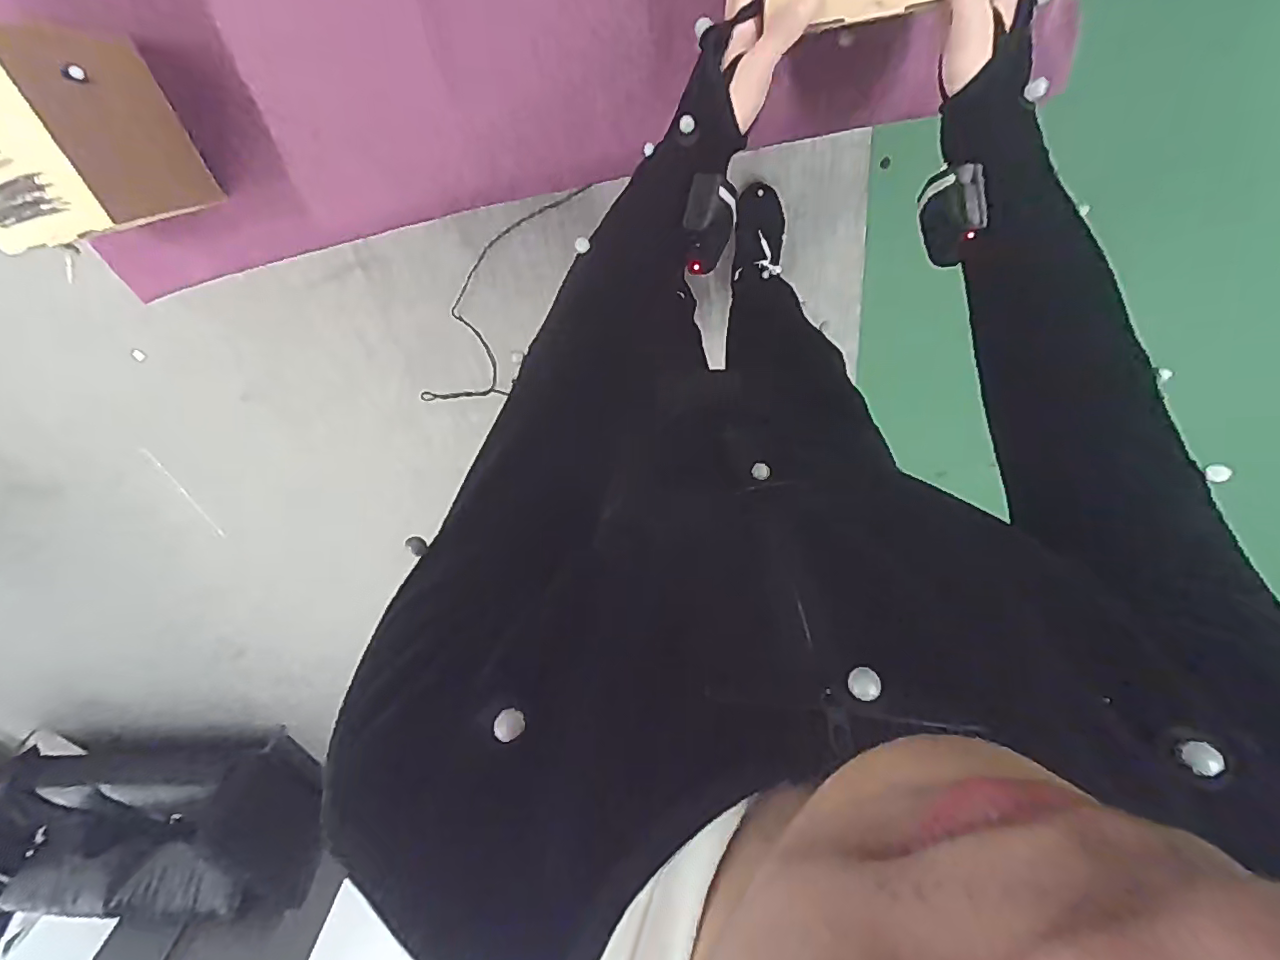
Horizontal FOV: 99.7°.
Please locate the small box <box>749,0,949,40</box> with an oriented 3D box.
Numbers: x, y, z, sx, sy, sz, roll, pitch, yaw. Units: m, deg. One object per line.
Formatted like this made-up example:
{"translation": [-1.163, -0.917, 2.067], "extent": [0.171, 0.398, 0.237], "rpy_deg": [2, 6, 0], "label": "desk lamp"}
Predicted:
{"translation": [0.170, -0.477, 0.429], "extent": [0.168, 0.176, 0.179], "rpy_deg": [-2, 127, 12], "label": "small box"}
